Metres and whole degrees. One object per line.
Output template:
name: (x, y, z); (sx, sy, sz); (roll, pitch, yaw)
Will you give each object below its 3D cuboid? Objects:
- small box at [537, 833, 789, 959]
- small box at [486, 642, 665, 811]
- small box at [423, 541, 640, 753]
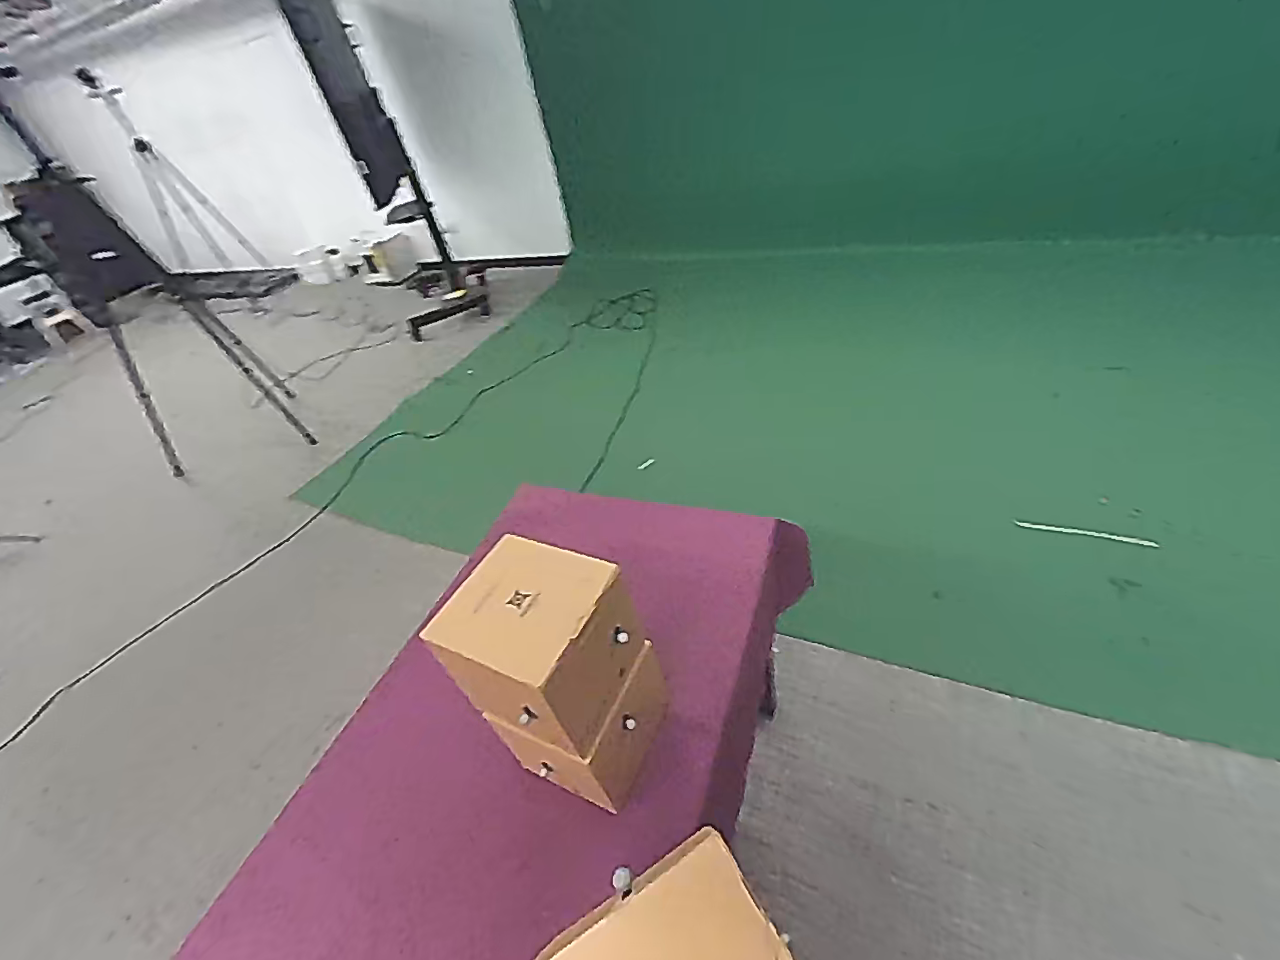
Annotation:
small box: (0.031, 0.401, 0.407); (0.179, 0.176, 0.168); (-29, 59, -13)
small box: (-0.077, 0.328, 0.767); (0.168, 0.176, 0.179); (10, 46, 27)
small box: (-0.119, 0.206, 0.668); (0.179, 0.176, 0.168); (10, 45, 29)
